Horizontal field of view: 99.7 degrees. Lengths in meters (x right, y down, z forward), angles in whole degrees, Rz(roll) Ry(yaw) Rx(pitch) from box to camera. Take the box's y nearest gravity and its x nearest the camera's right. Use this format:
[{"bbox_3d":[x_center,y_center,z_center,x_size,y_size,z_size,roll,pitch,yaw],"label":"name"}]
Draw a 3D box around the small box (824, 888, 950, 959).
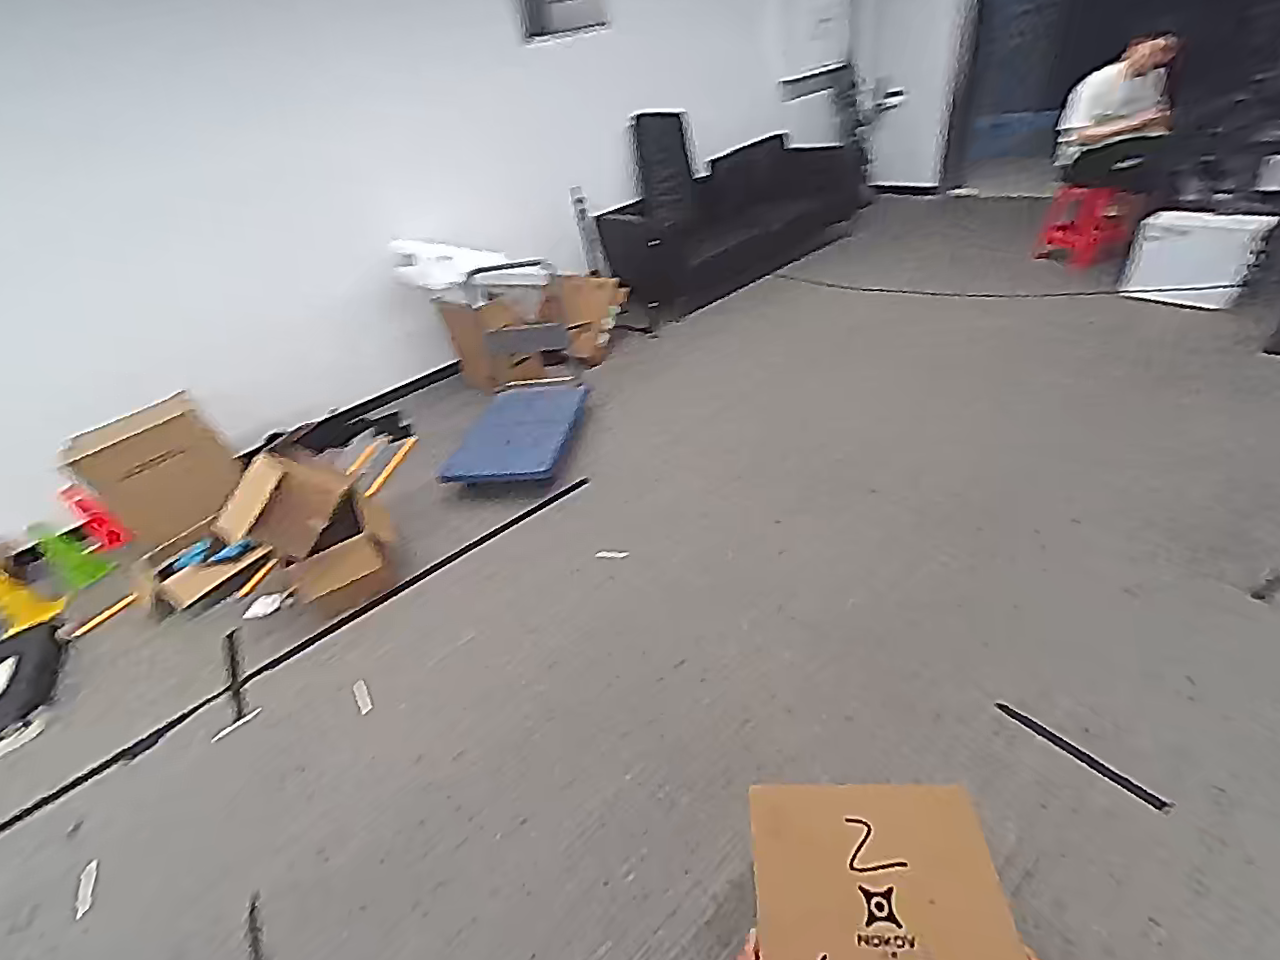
[{"bbox_3d":[0.457,0.926,1.006,0.179,0.176,0.168,-33,43,-25],"label":"small box"}]
